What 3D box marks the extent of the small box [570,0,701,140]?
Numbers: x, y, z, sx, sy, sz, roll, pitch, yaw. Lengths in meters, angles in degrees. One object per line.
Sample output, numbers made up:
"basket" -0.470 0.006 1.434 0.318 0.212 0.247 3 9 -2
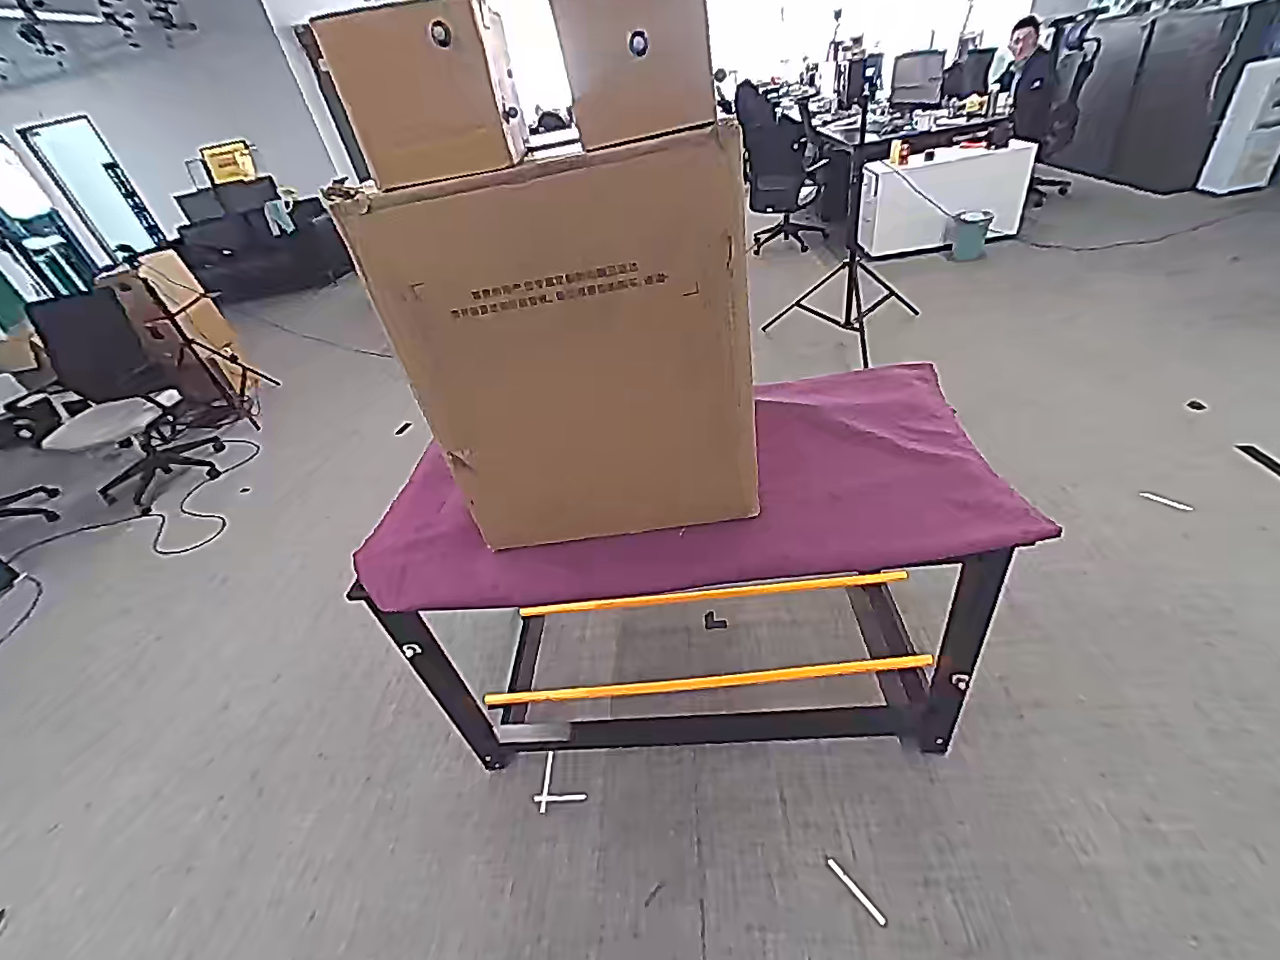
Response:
"small box" 0.002 -0.639 0.833 0.168 0.176 0.179 -7 37 8
